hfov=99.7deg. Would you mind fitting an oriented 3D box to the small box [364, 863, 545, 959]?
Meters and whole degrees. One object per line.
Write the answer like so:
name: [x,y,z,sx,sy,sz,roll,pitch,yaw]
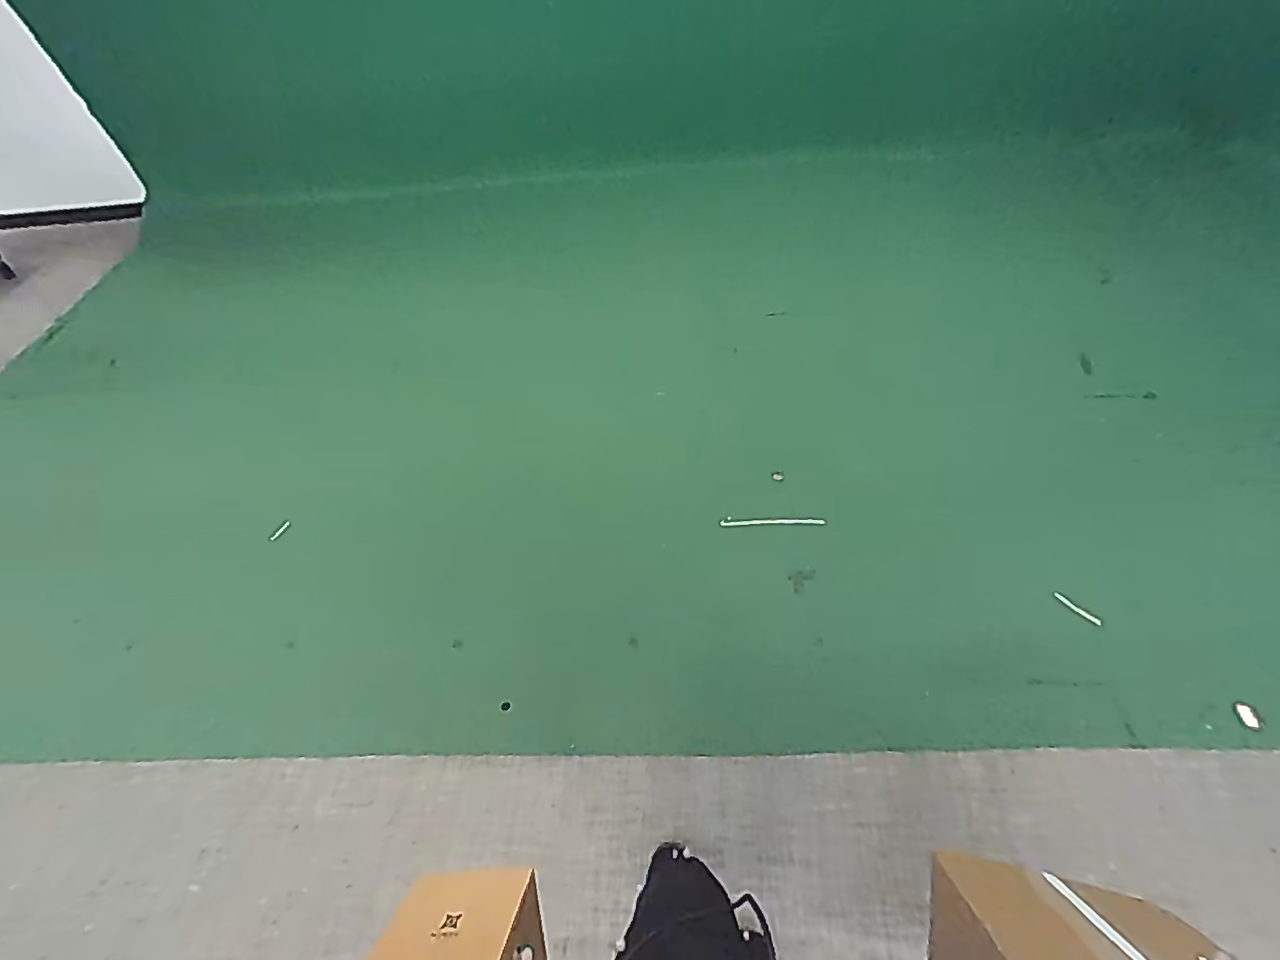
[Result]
small box: [-0.220,0.617,0.663,0.168,0.179,0.176,-7,93,5]
